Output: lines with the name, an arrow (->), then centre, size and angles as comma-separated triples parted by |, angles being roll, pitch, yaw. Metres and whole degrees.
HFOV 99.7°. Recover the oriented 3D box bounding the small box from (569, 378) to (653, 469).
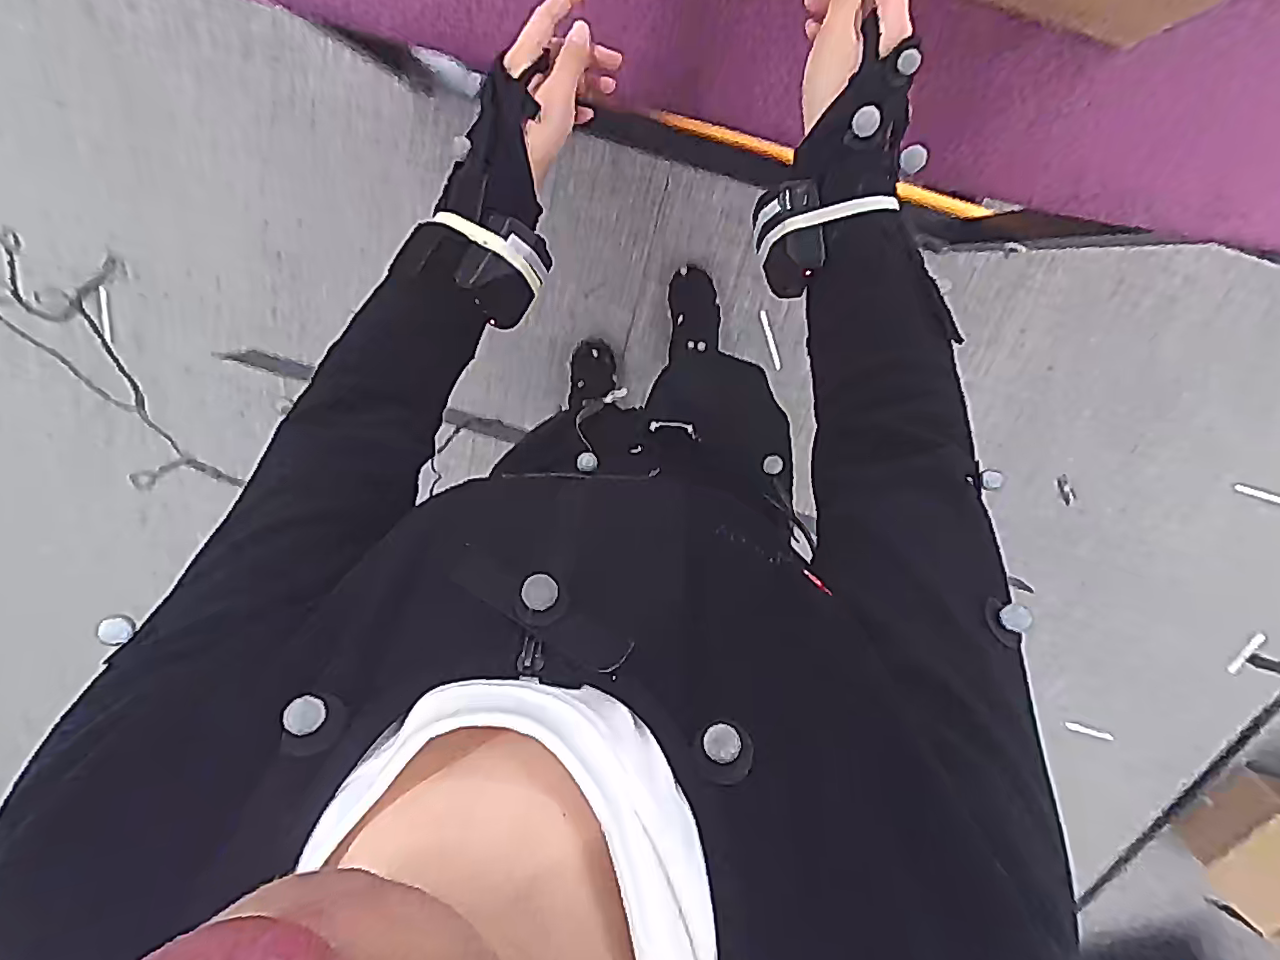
small box -> -0.074, -0.133, 1.258 | 0.179, 0.176, 0.168 | 5, 112, -7
